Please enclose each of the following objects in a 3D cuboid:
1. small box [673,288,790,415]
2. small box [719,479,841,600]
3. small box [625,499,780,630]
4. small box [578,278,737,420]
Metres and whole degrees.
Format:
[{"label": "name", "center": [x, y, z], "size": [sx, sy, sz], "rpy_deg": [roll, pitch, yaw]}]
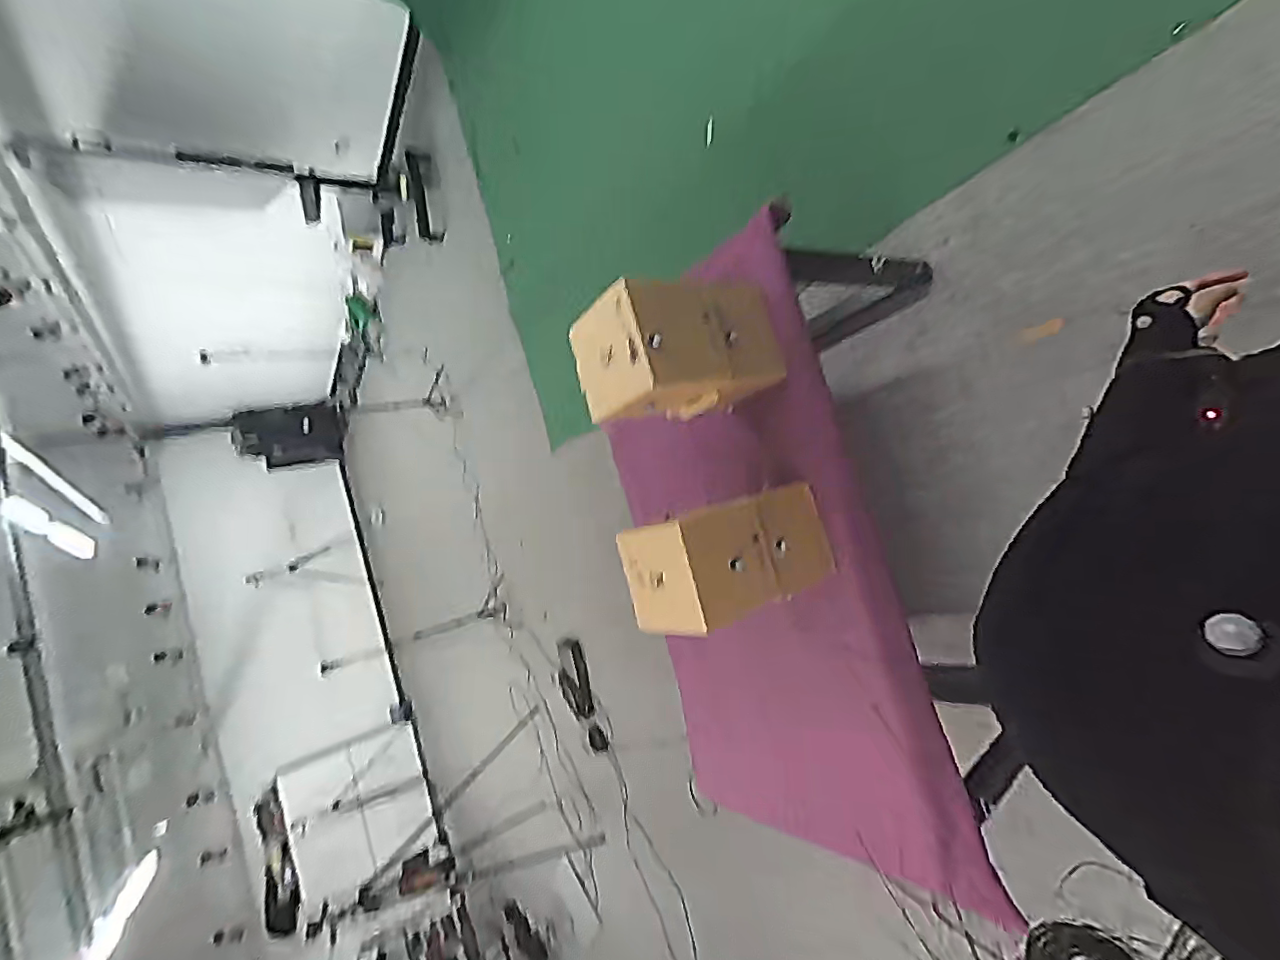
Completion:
[{"label": "small box", "center": [0.146, -0.237, 0.991], "size": [0.168, 0.176, 0.179], "rpy_deg": [-26, 80, 53]}, {"label": "small box", "center": [0.236, 0.111, 0.985], "size": [0.168, 0.176, 0.179], "rpy_deg": [-23, 82, 54]}, {"label": "small box", "center": [0.106, 0.135, 0.887], "size": [0.179, 0.176, 0.168], "rpy_deg": [-18, 86, 54]}, {"label": "small box", "center": [0.027, -0.208, 0.880], "size": [0.179, 0.176, 0.168], "rpy_deg": [-22, 84, 54]}]
